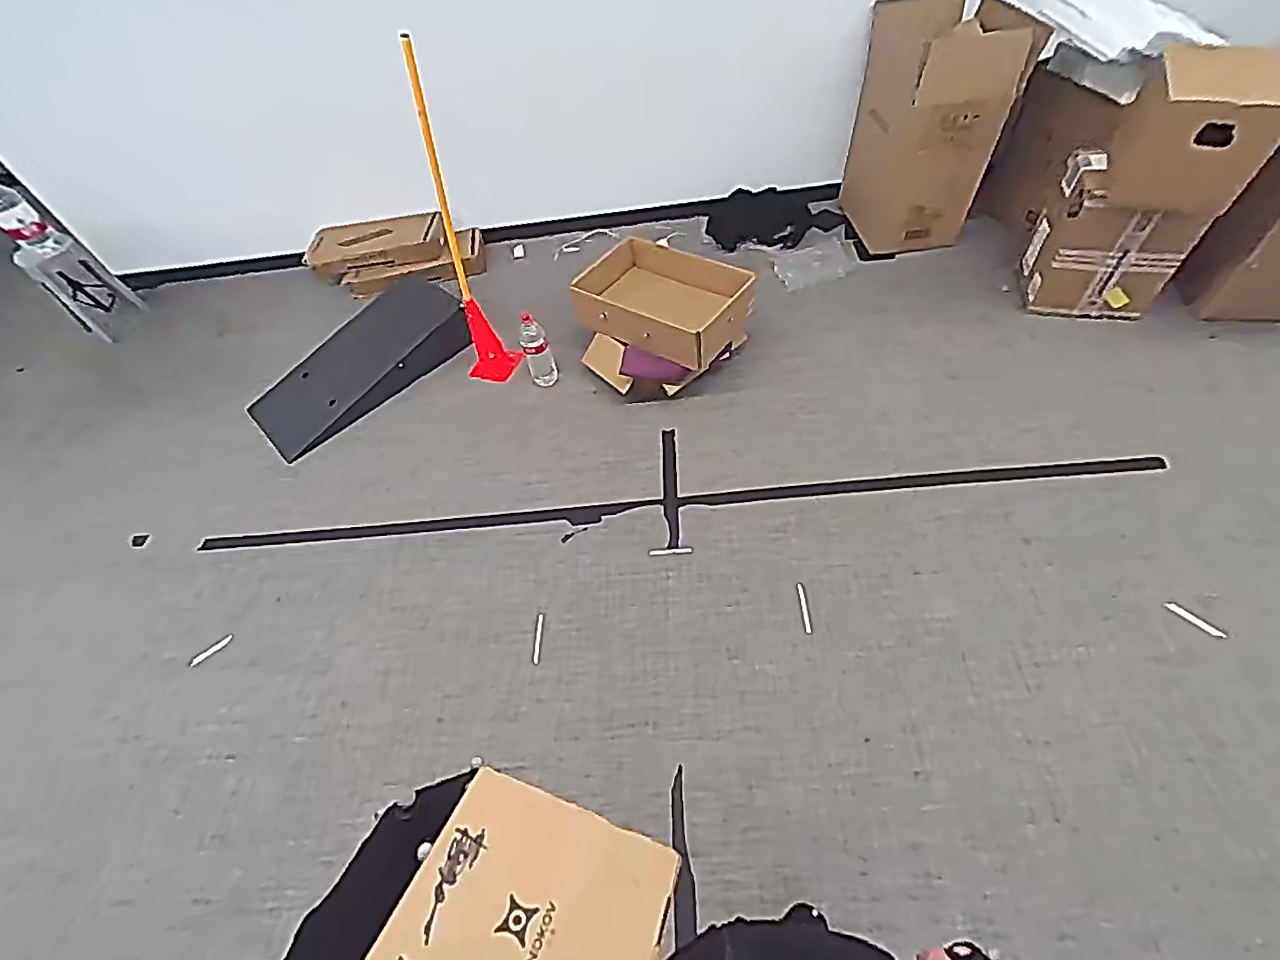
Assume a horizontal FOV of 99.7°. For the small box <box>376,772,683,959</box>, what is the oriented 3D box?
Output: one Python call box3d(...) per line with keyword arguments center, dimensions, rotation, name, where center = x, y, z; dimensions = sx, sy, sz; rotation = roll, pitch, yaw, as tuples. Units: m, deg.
box3d(center=(-0.085, 0.372, 0.415), dimensions=(0.179, 0.176, 0.168), rotation=(18, 35, 10), name="small box")
